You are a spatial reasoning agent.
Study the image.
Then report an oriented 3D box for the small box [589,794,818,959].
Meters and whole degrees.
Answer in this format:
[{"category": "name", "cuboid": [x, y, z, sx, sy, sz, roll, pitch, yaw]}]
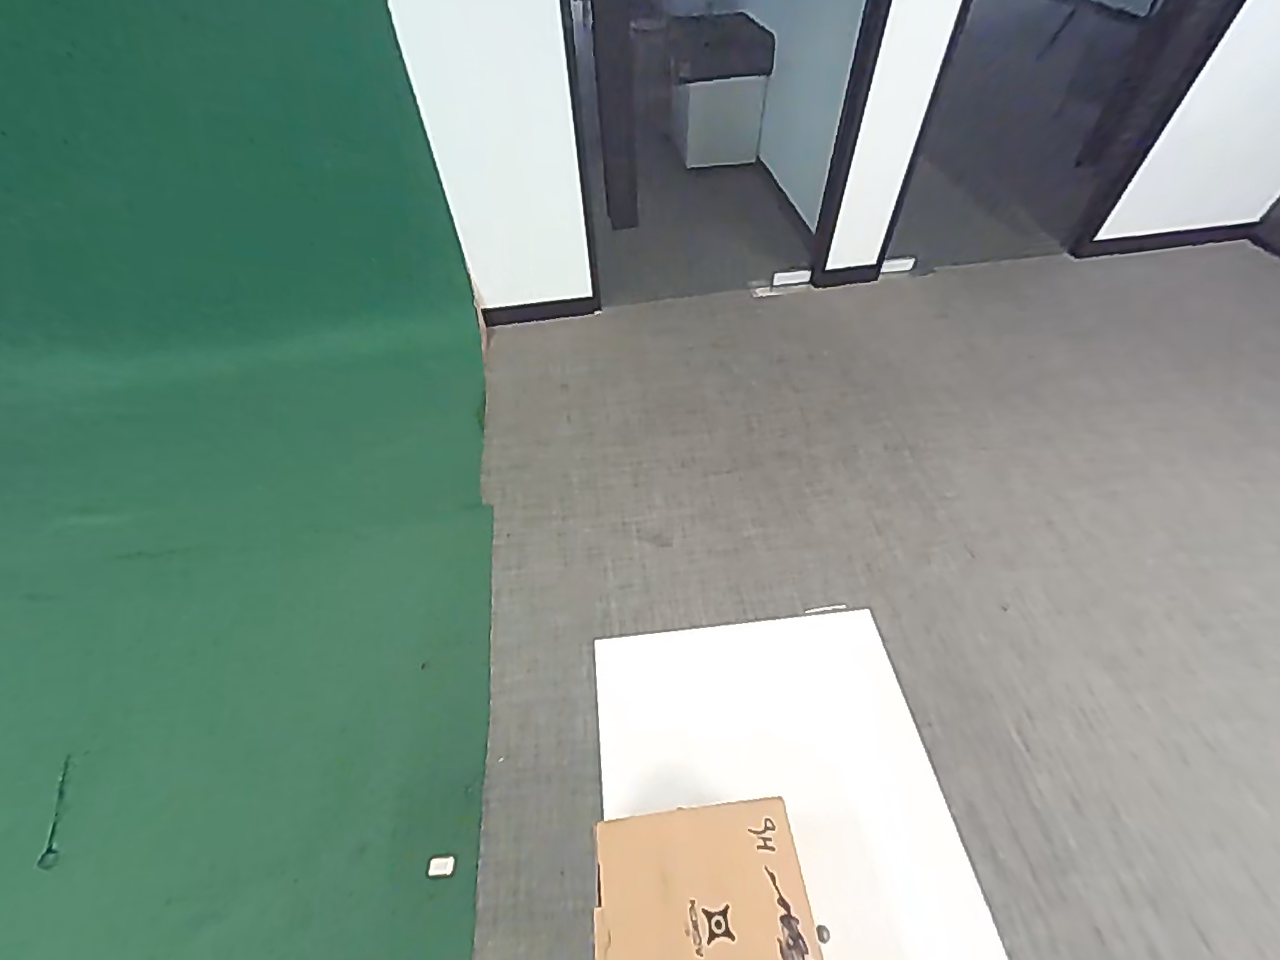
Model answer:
[{"category": "small box", "cuboid": [0.052, 0.407, 0.501, 0.179, 0.176, 0.168, -6, 52, -3]}]
